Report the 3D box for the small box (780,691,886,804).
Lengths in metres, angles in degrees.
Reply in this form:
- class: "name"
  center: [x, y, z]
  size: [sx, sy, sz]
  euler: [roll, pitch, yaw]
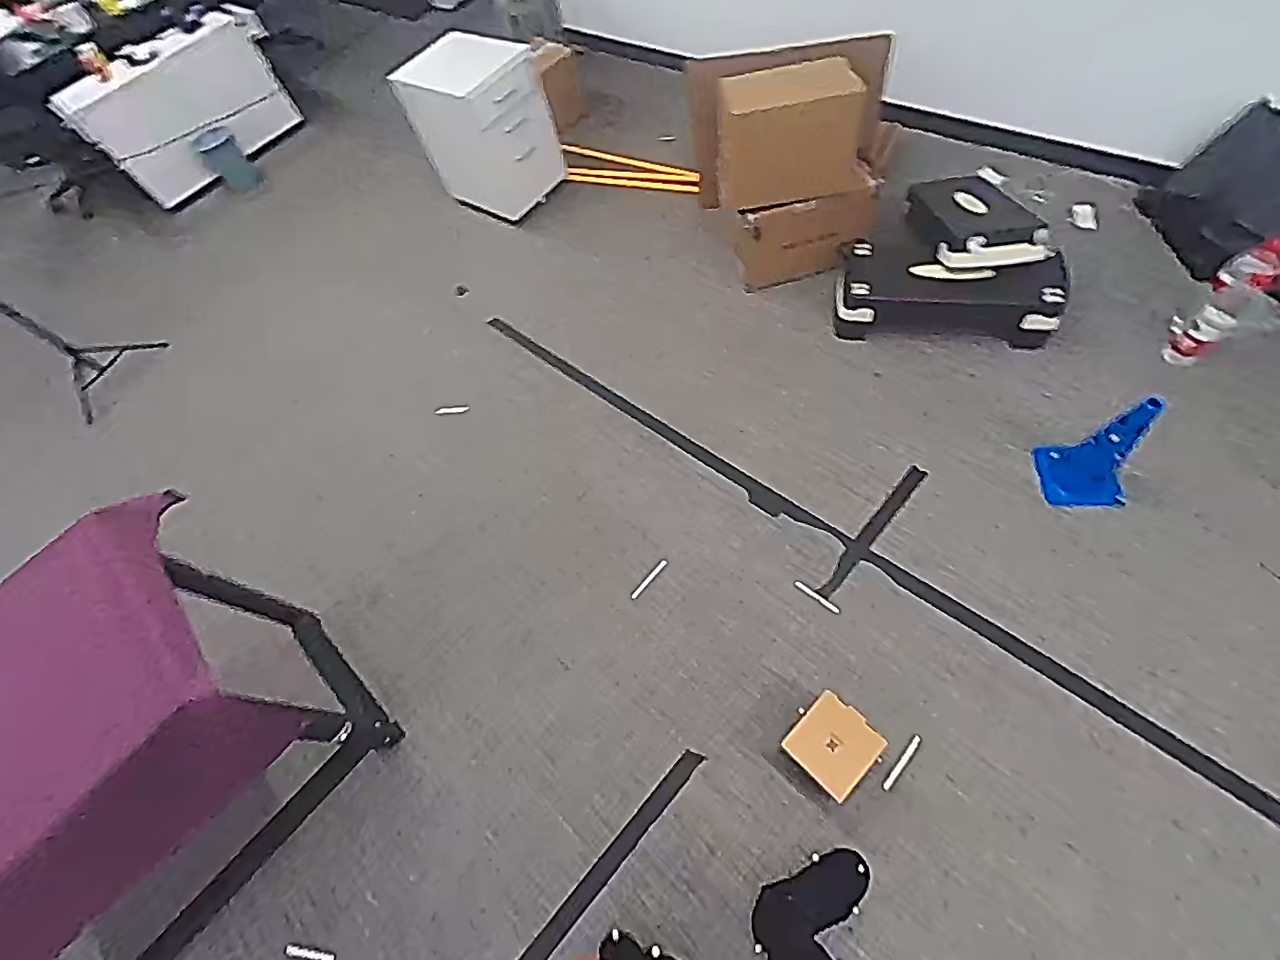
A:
- class: "small box"
  center: [0.454, 0.641, 1.296]
  size: [0.179, 0.176, 0.168]
  euler: [-43, 62, -13]
